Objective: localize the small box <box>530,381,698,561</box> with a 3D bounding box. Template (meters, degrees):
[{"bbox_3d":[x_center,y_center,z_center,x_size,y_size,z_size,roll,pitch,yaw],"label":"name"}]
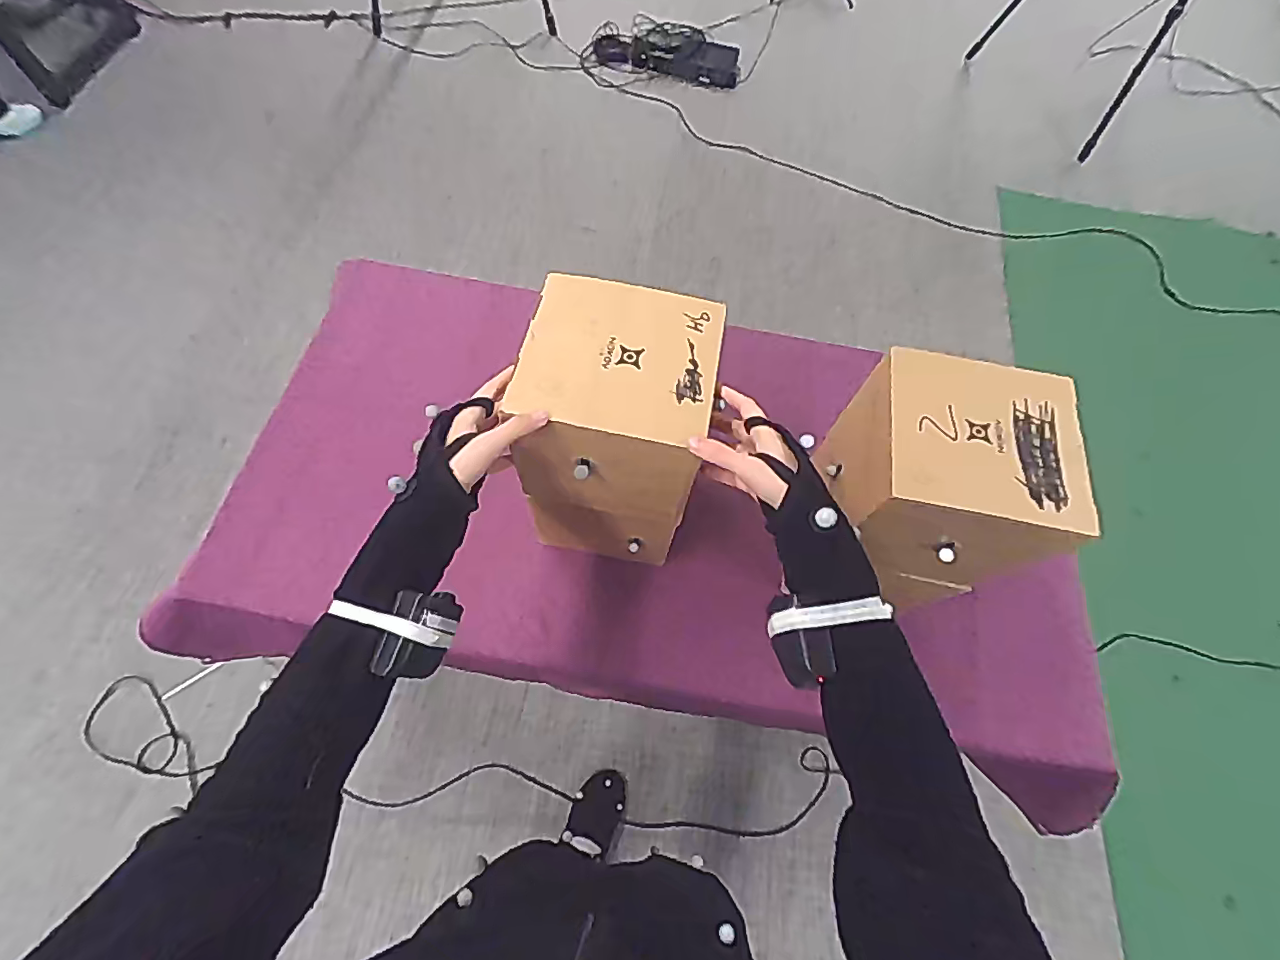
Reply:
[{"bbox_3d":[-0.031,-0.003,0.716,0.179,0.176,0.168,11,63,1],"label":"small box"}]

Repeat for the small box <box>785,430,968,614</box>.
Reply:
[{"bbox_3d":[0.297,0.064,0.709,0.168,0.176,0.179,12,64,2],"label":"small box"}]
